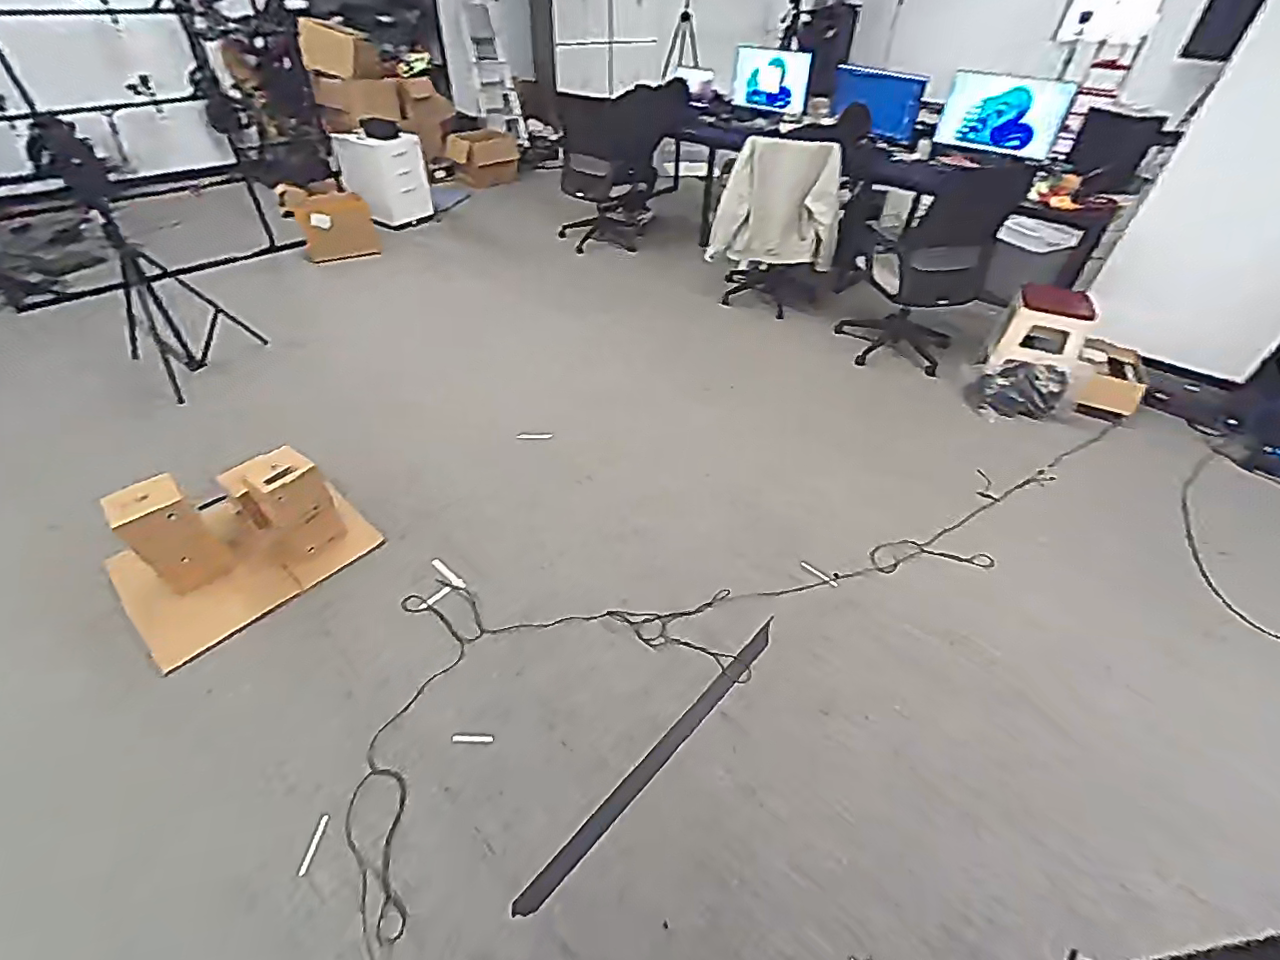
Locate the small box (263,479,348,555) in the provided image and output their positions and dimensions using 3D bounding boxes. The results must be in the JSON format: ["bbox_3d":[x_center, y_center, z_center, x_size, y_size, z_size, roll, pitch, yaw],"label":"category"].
[{"bbox_3d":[-1.156,0.134,1.882,0.179,0.176,0.168,28,48,26],"label":"small box"}]

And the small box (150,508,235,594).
[{"bbox_3d":[-1.463,0.232,1.762,0.168,0.176,0.179,35,53,30],"label":"small box"}]

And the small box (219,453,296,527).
[{"bbox_3d":[-1.378,0.037,1.981,0.168,0.176,0.179,28,49,26],"label":"small box"}]

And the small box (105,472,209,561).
[{"bbox_3d":[-1.461,0.111,1.649,0.179,0.176,0.168,-33,53,-31],"label":"small box"}]
